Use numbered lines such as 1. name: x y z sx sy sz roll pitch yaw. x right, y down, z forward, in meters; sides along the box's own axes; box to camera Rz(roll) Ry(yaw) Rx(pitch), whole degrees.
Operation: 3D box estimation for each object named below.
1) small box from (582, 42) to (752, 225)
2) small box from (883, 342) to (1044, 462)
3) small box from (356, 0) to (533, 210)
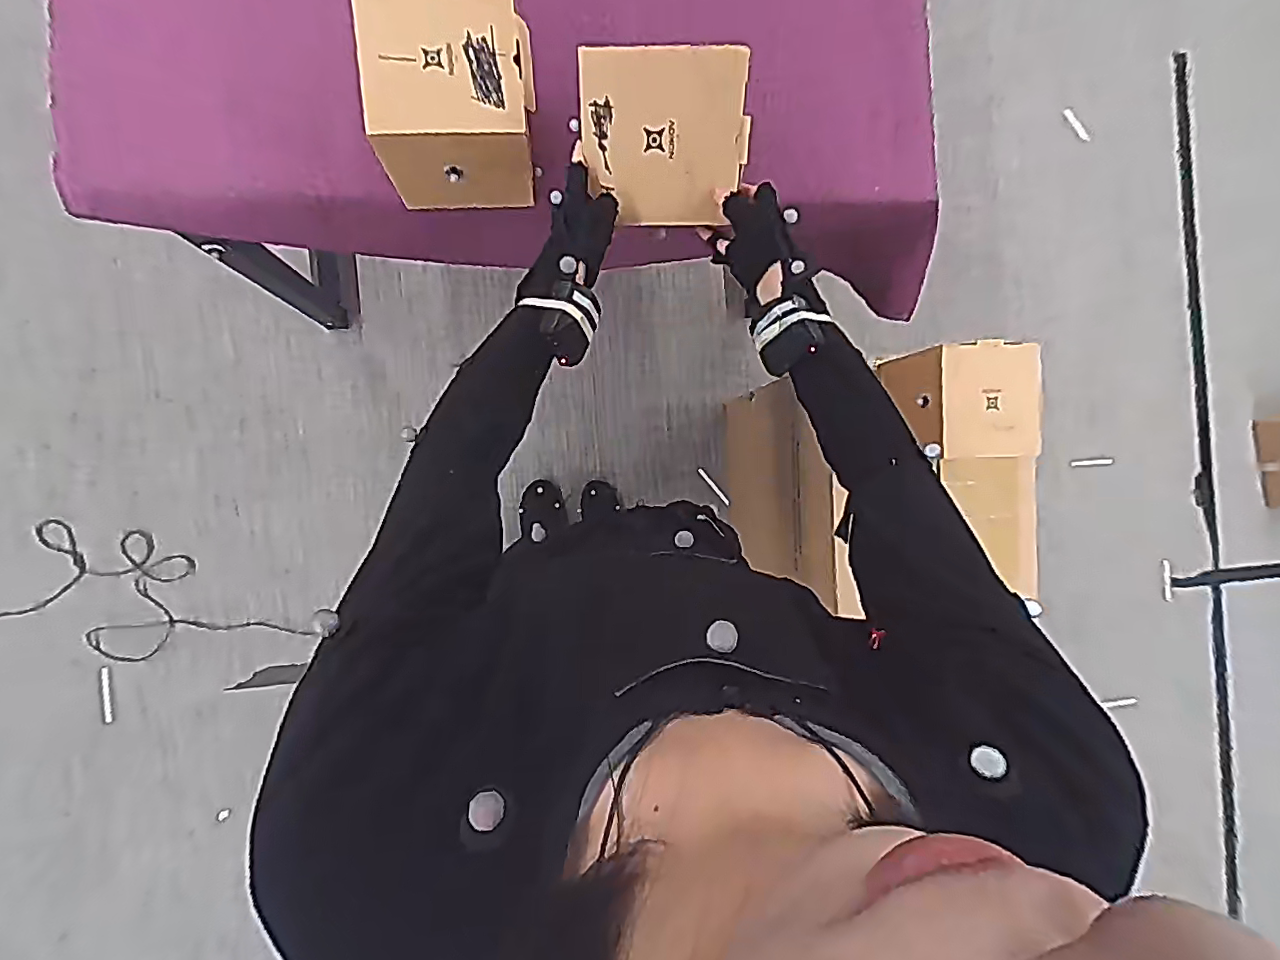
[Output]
1. small box: 0.026 -0.401 0.651 0.179 0.176 0.168 0 115 0
2. small box: 0.524 -0.122 0.895 0.168 0.176 0.179 -3 92 -6
3. small box: -0.228 -0.459 0.677 0.179 0.176 0.168 -6 90 -8
